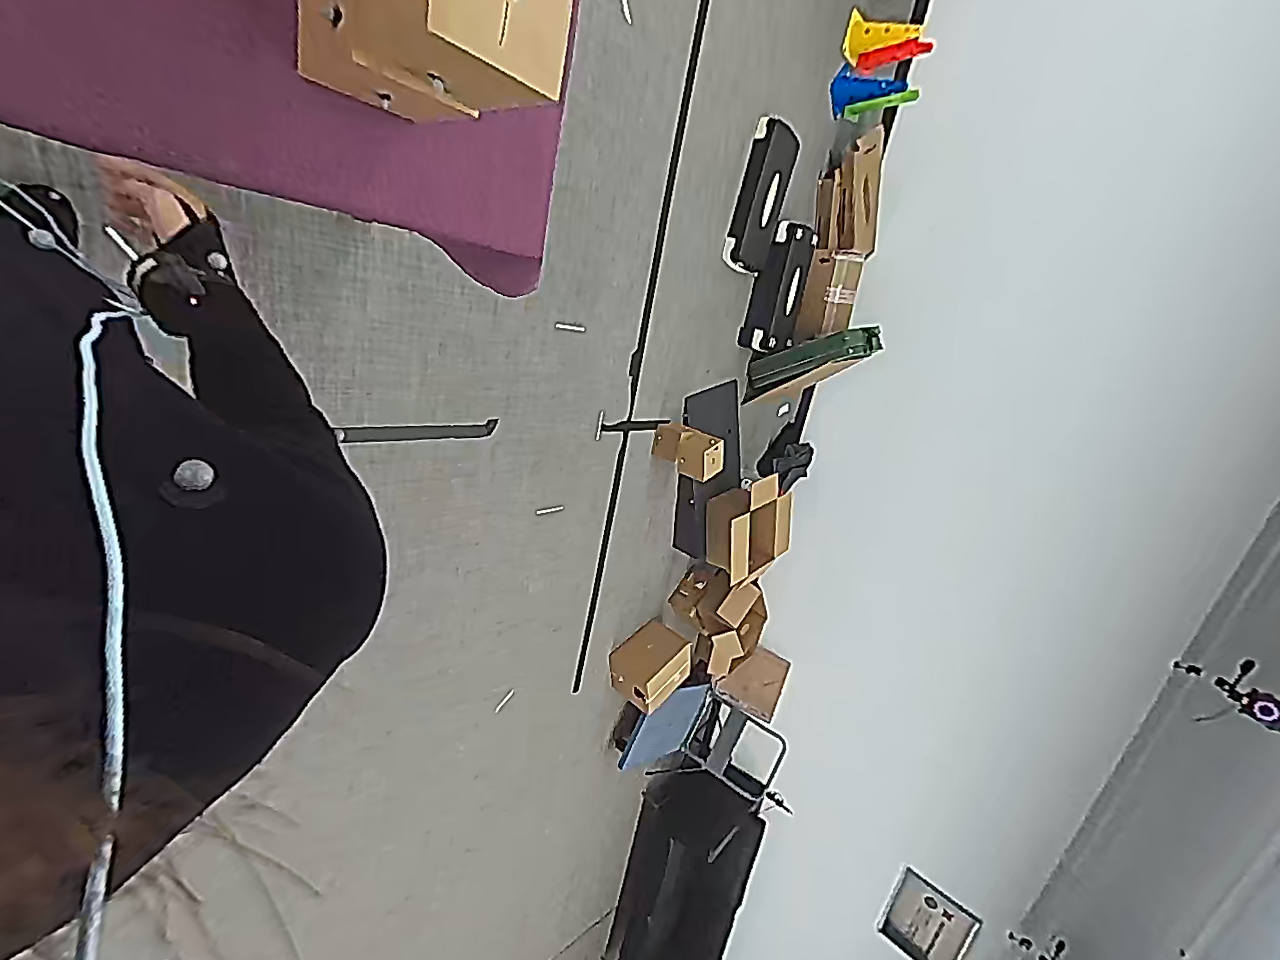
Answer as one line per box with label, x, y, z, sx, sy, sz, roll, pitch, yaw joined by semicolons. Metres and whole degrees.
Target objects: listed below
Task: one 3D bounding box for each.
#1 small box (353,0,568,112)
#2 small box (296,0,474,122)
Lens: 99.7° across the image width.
small box;-0.198;-0.540;0.599;0.168;0.176;0.179;-9;117;-49
small box;-0.322;-0.587;0.696;0.168;0.176;0.179;-10;117;-50
